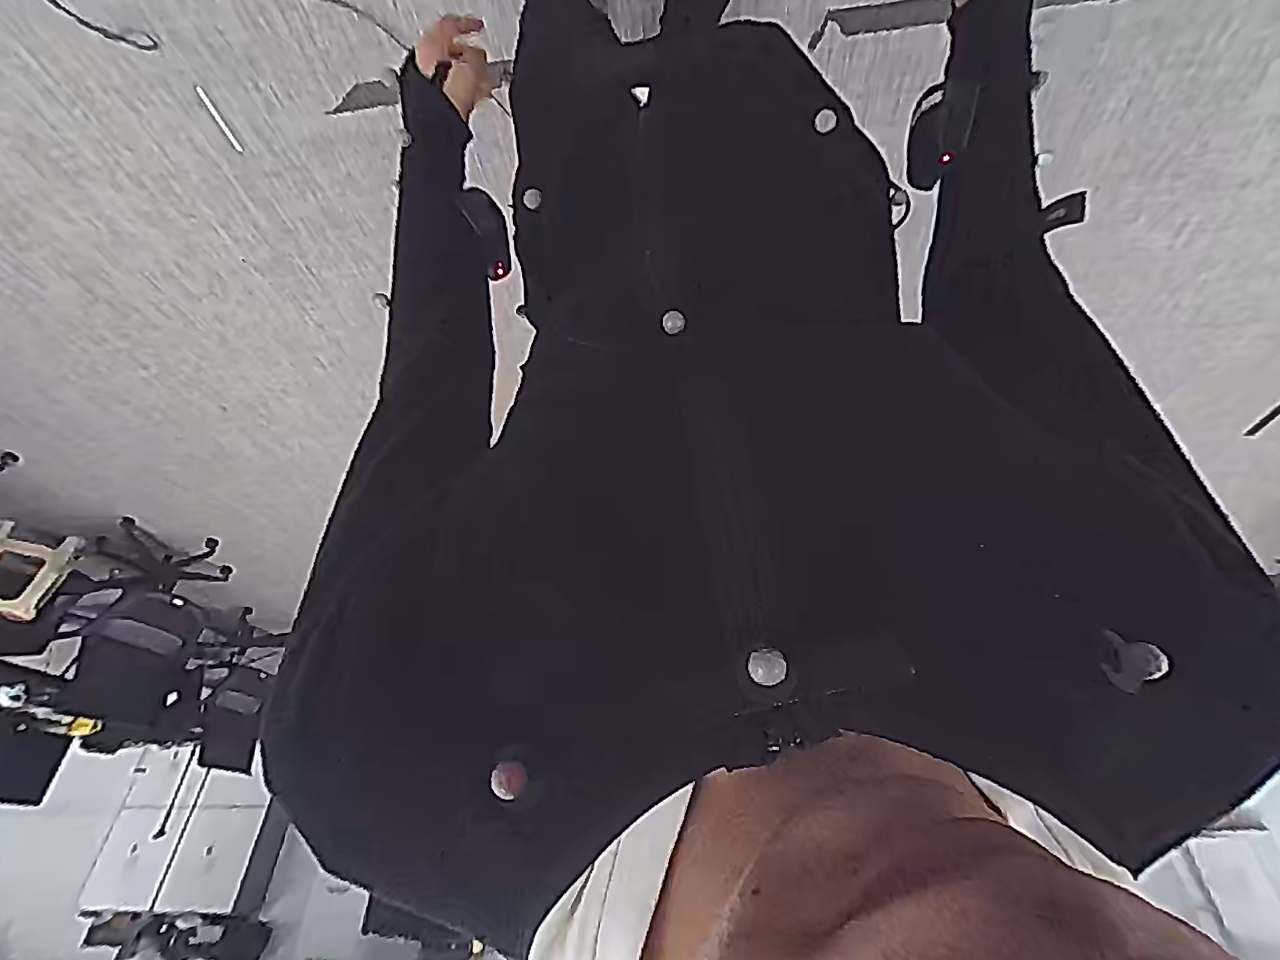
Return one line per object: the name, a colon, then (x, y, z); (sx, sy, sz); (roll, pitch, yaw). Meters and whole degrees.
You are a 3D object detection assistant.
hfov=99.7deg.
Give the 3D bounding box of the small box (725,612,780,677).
small box: (0.387, 0.571, 1.875); (0.168, 0.176, 0.179); (-6, 143, 7)
